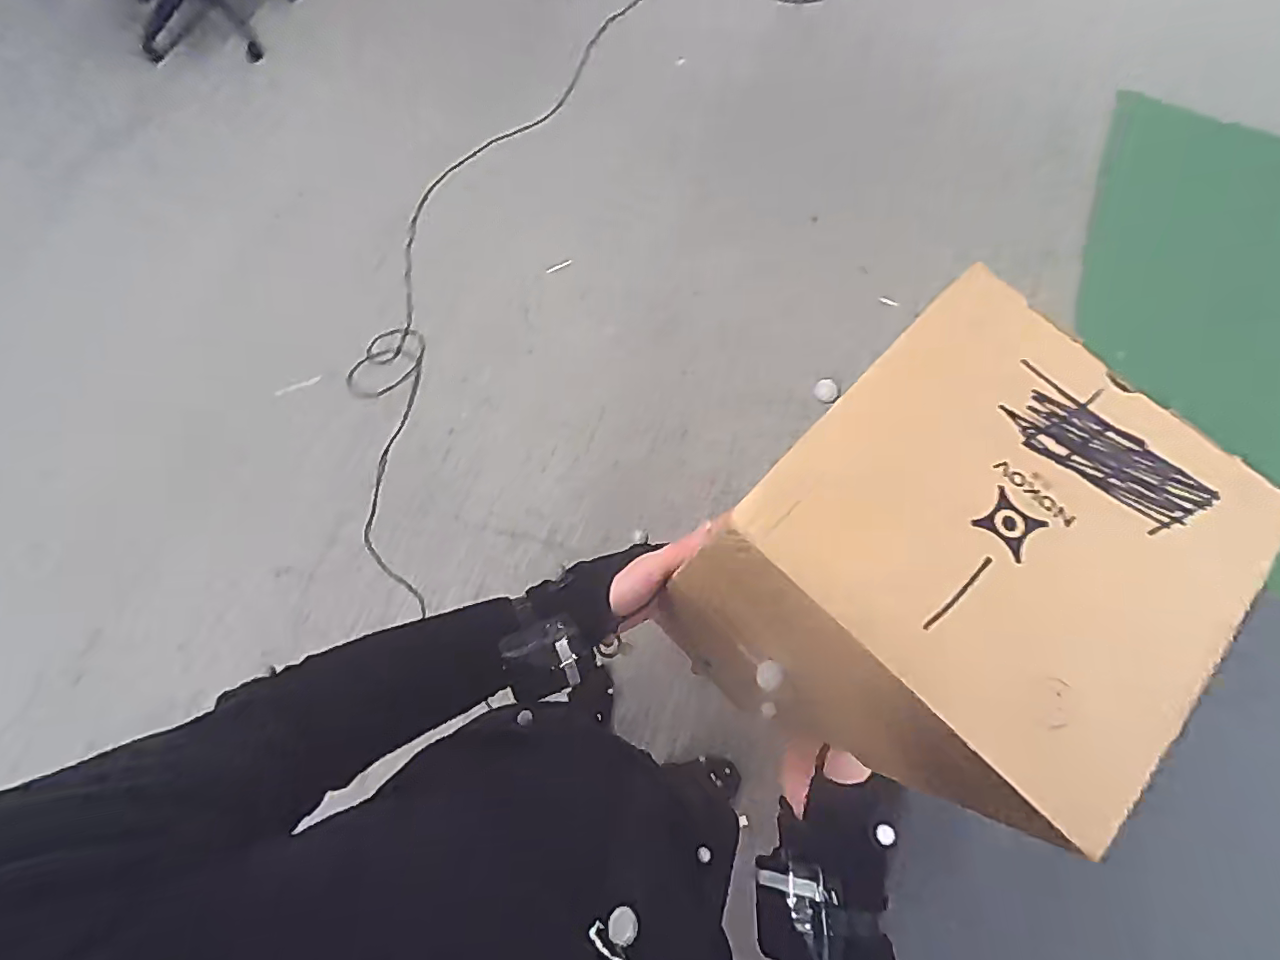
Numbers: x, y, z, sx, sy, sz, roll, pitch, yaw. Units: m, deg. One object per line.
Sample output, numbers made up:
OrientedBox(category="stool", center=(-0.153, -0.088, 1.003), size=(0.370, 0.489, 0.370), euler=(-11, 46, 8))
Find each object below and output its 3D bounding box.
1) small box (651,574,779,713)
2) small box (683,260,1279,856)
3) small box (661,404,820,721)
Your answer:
OrientedBox(category="small box", center=(0.126, 0.126, 0.599), size=(0.168, 0.176, 0.179), euler=(44, 76, 10))
OrientedBox(category="small box", center=(0.140, 0.034, 0.286), size=(0.168, 0.176, 0.179), euler=(44, 76, 10))
OrientedBox(category="small box", center=(0.131, 0.078, 0.444), size=(0.168, 0.176, 0.179), euler=(42, 74, 9))
